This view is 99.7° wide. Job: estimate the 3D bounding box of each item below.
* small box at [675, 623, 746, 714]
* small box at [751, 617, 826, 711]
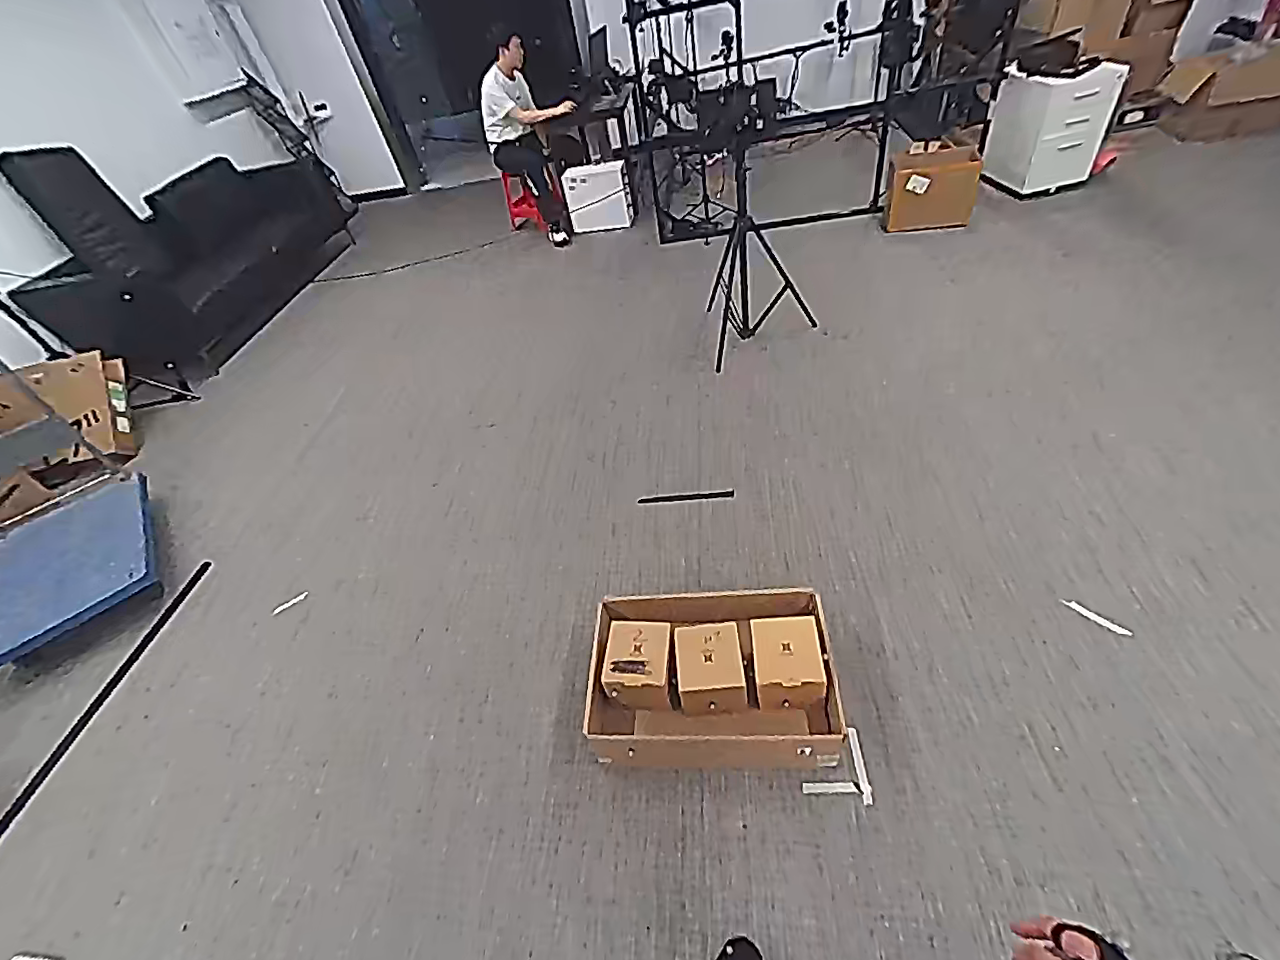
[{"bbox_3d":[0.185,0.502,1.422,0.168,0.176,0.179,-7,44,5],"label":"small box"},{"bbox_3d":[0.379,0.477,1.400,0.168,0.176,0.179,-6,45,10],"label":"small box"}]
